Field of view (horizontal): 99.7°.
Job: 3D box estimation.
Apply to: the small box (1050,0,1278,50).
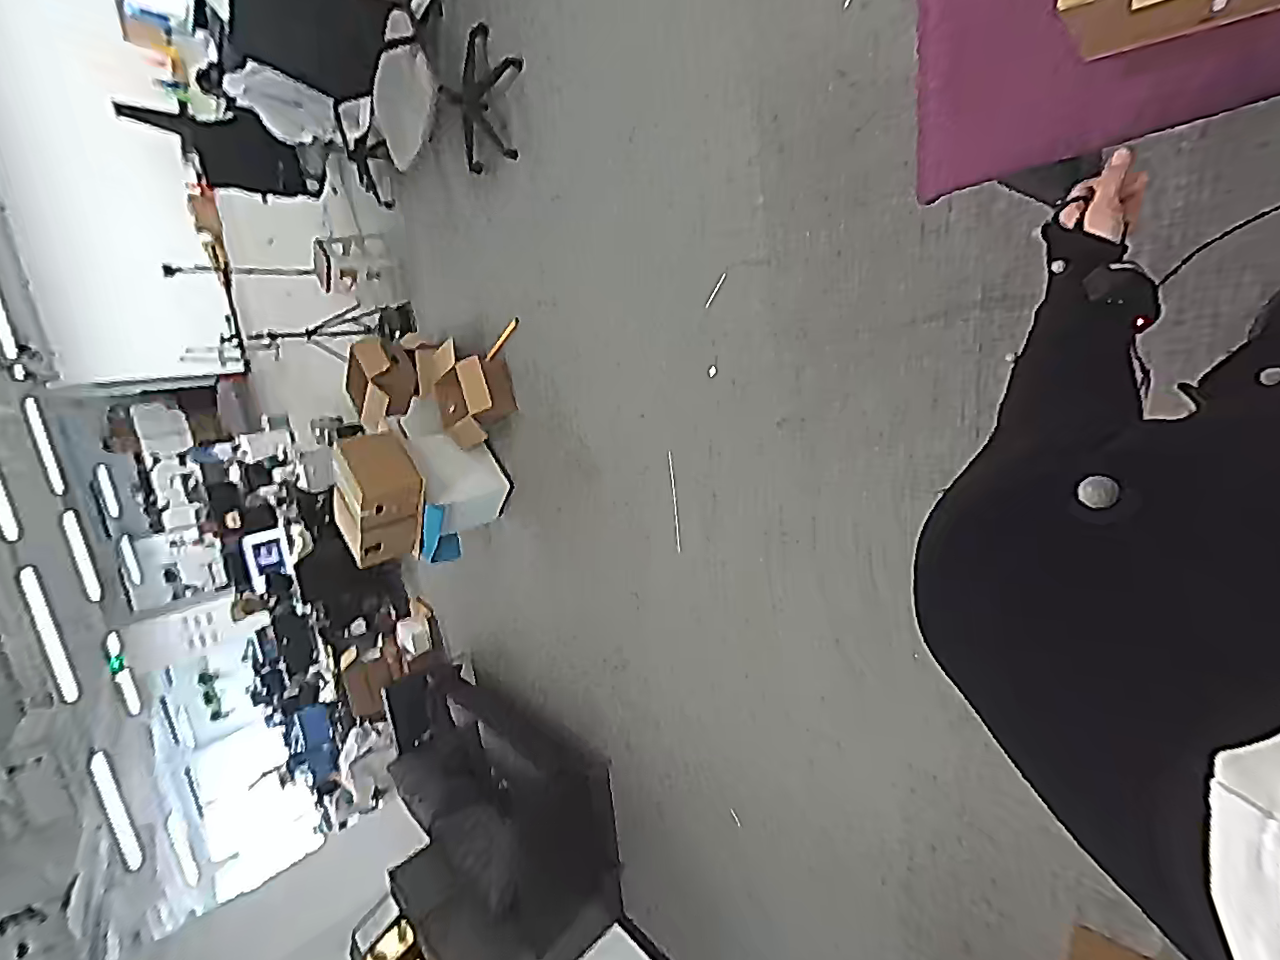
[{"bbox_3d":[0.533,-0.557,0.524,0.168,0.176,0.179,17,113,44],"label":"small box"}]
